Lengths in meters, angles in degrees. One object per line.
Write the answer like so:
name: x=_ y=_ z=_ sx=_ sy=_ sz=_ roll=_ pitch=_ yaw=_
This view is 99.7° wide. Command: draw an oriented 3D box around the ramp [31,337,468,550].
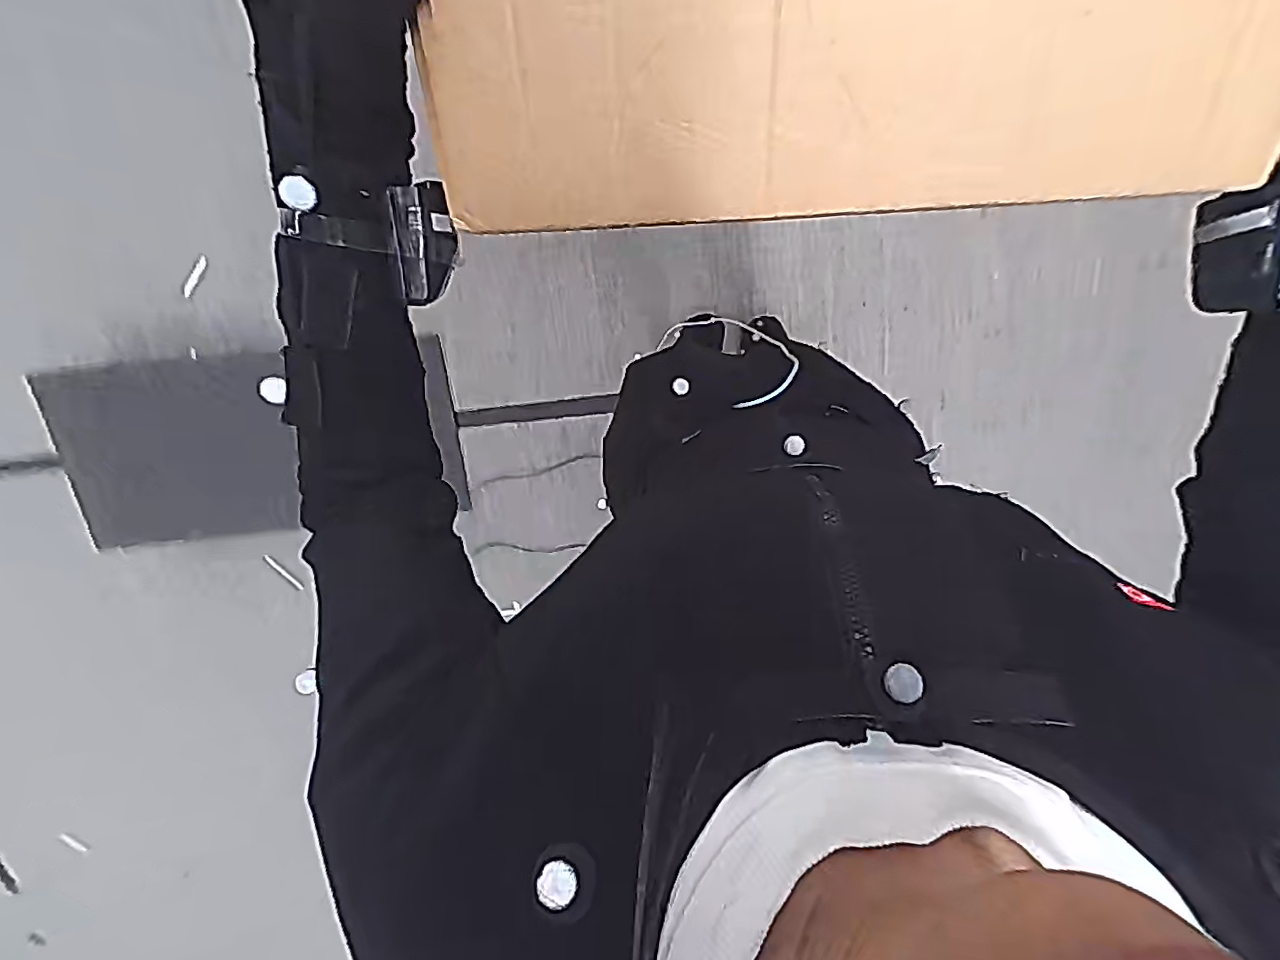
ramp: x=-1.005 y=-0.096 z=1.453 sx=0.991 sy=0.206 sz=0.509 roll=-5 pitch=106 yaw=6

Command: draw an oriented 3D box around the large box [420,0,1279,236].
large box: x=0.090 y=-0.355 z=0.350 sx=0.408 sy=0.320 sz=0.320 roll=-3 pitch=119 yaw=4
